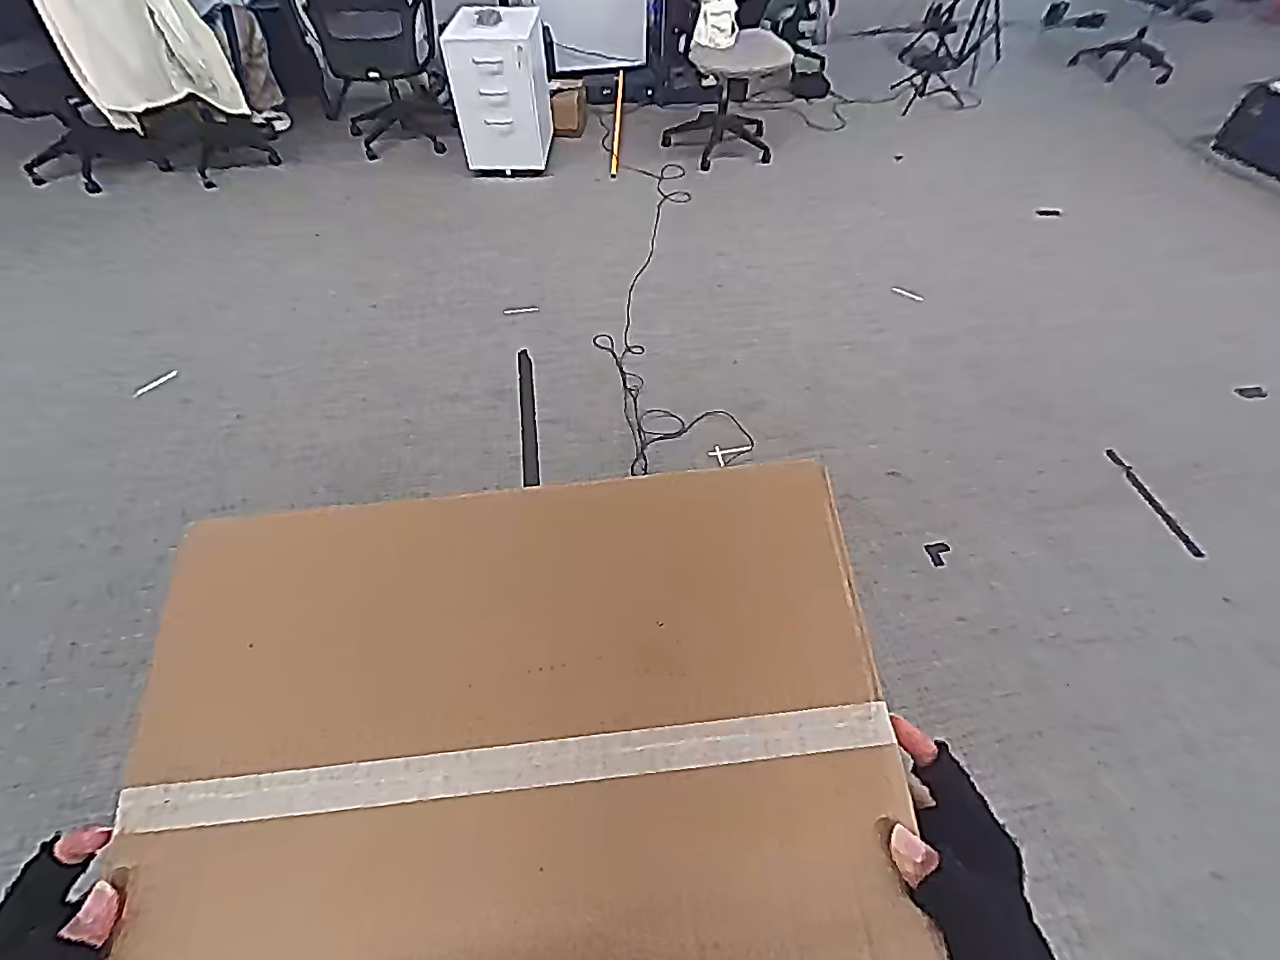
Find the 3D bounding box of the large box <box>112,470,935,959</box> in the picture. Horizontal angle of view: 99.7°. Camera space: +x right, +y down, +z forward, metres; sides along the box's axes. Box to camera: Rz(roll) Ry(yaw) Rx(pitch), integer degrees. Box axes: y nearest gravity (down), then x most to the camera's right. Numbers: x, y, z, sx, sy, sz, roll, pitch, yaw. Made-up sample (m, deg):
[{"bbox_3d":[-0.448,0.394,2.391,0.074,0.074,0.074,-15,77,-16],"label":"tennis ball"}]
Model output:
[{"bbox_3d":[-0.062,0.211,0.432,0.408,0.320,0.320,-6,67,-1],"label":"large box"}]
